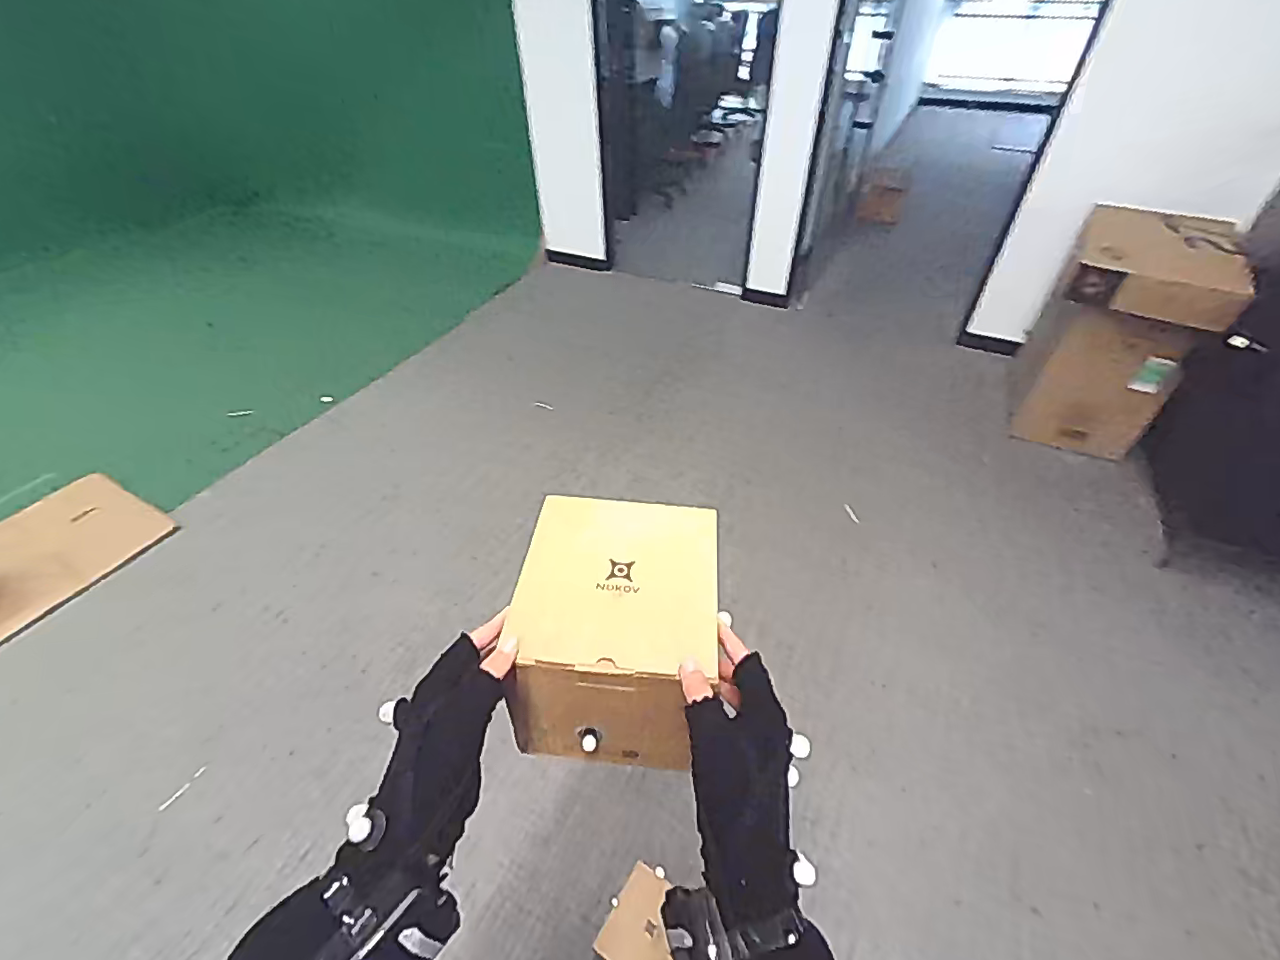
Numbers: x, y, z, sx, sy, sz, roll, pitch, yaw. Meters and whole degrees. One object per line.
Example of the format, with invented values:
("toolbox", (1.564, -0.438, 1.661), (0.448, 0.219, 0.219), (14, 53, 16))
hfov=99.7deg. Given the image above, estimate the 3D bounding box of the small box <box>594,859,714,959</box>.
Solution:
("small box", (0.029, 0.911, 1.078), (0.179, 0.176, 0.168), (24, 49, 24))
